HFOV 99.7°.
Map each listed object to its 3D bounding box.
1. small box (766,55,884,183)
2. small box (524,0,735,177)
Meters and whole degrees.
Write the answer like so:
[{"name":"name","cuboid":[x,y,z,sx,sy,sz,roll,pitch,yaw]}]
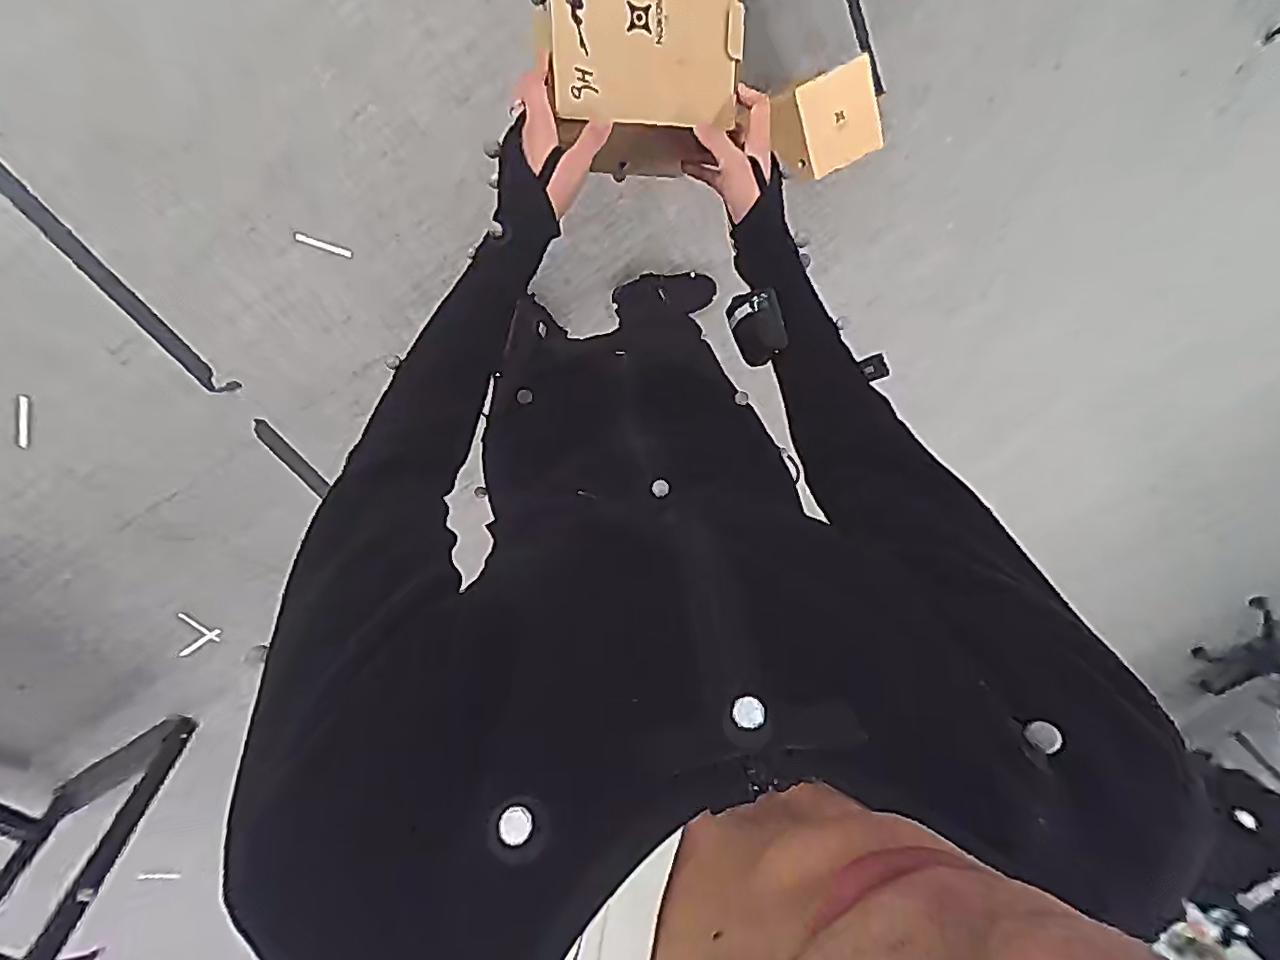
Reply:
[{"name":"small box","cuboid":[0.396,-0.771,1.177,0.168,0.176,0.179,-27,120,1]},{"name":"small box","cuboid":[-0.019,-0.422,0.550,0.179,0.176,0.168,-5,106,-15]}]
